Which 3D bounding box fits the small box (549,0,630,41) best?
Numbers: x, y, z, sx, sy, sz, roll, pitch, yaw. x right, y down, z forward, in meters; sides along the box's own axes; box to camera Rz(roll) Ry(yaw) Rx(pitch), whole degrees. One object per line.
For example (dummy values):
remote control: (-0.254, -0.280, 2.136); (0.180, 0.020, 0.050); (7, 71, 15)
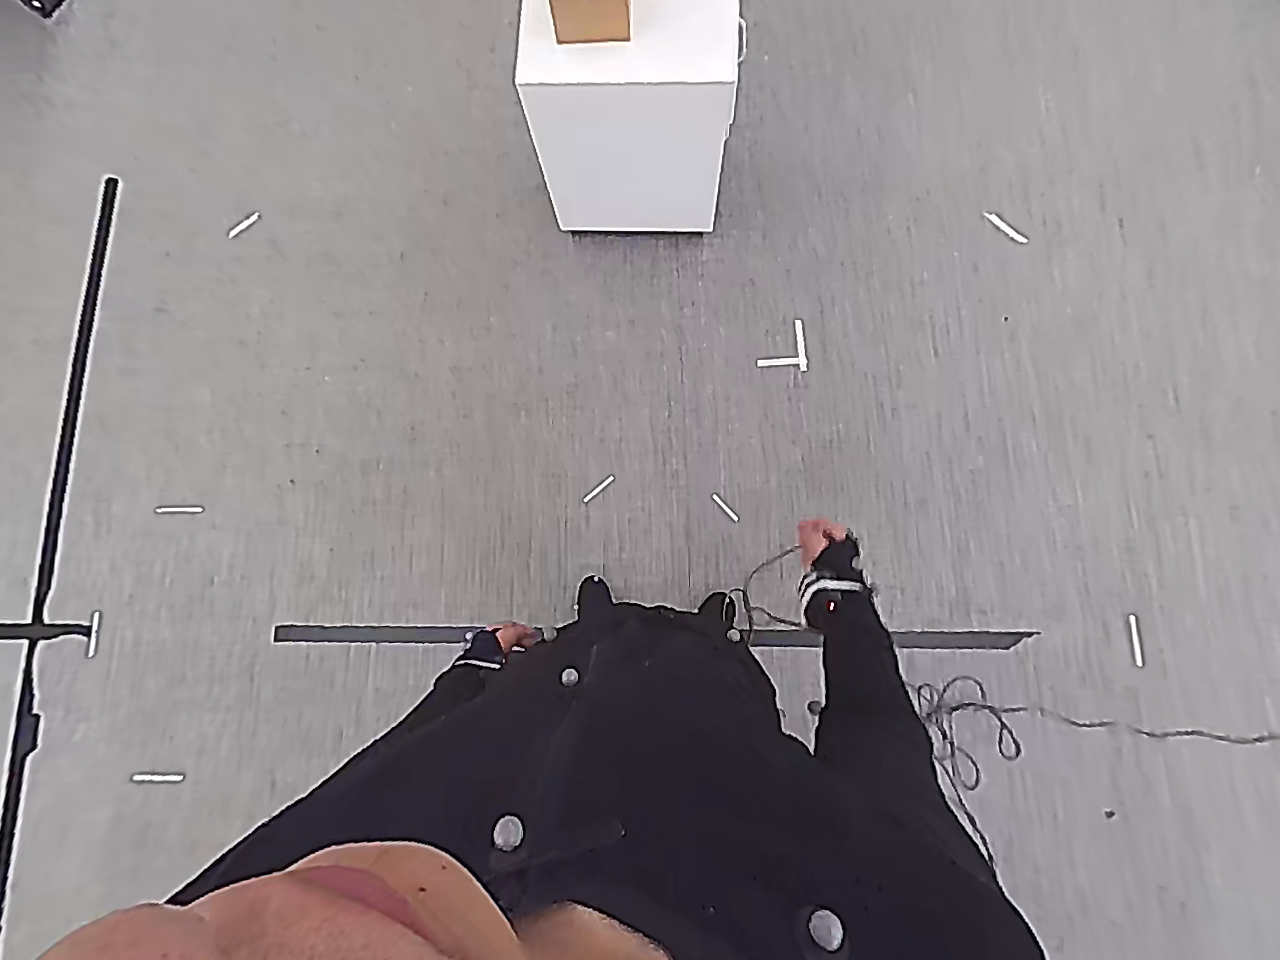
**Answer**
small box: (-0.115, -1.123, 1.203); (0.179, 0.176, 0.168); (-1, 81, 1)
